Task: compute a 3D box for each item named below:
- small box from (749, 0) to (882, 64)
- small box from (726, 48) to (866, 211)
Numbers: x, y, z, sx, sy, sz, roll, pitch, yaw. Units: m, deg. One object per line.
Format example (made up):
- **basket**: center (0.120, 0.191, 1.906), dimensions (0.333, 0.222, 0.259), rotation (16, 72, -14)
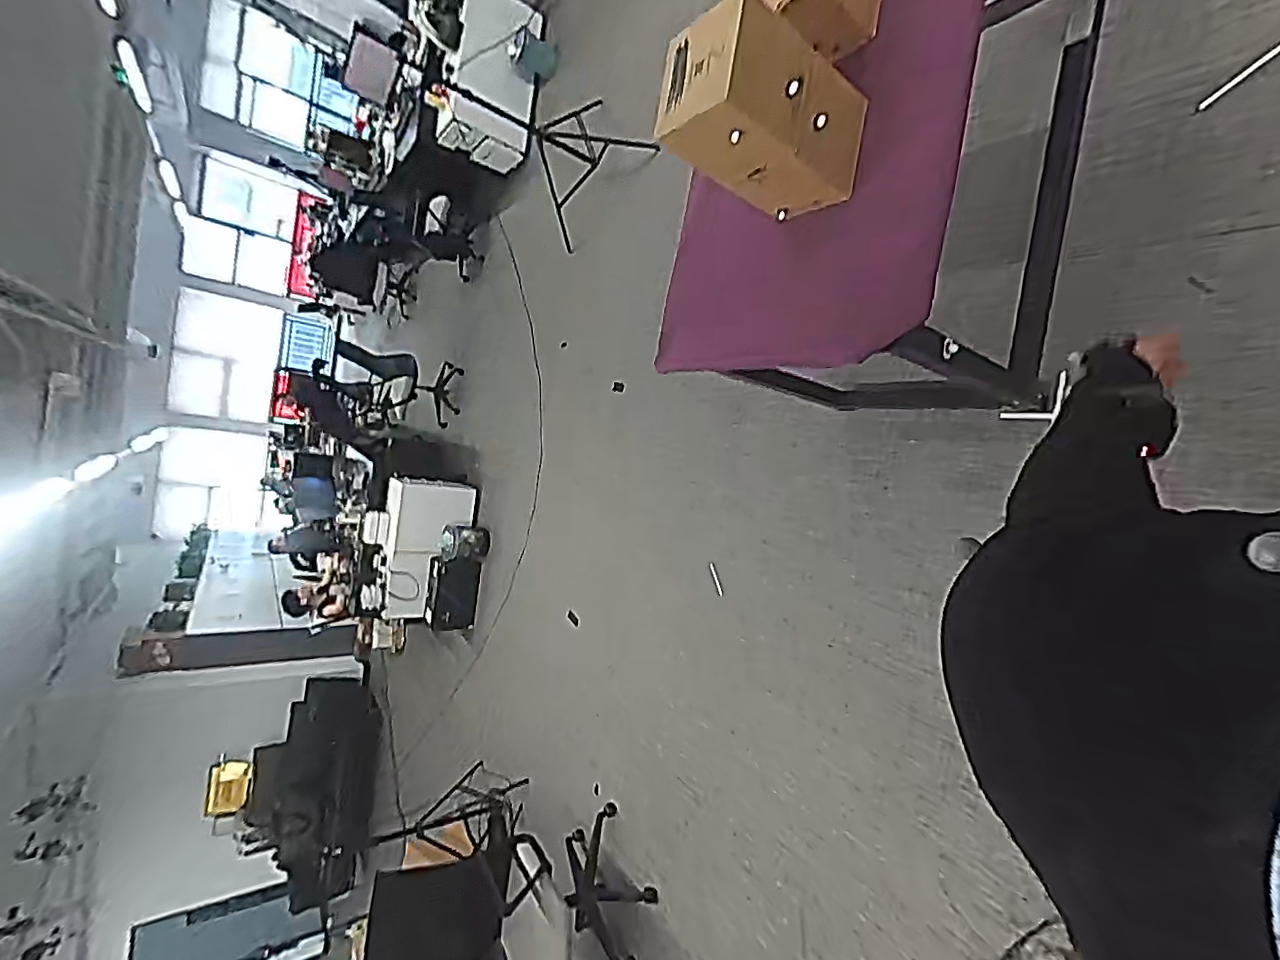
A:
- **small box**: center (0.325, -0.896, 0.972), dimensions (0.168, 0.176, 0.179), rotation (15, 97, 53)
- **small box**: center (0.284, -0.613, 0.981), dimensions (0.168, 0.176, 0.179), rotation (14, 95, 53)
